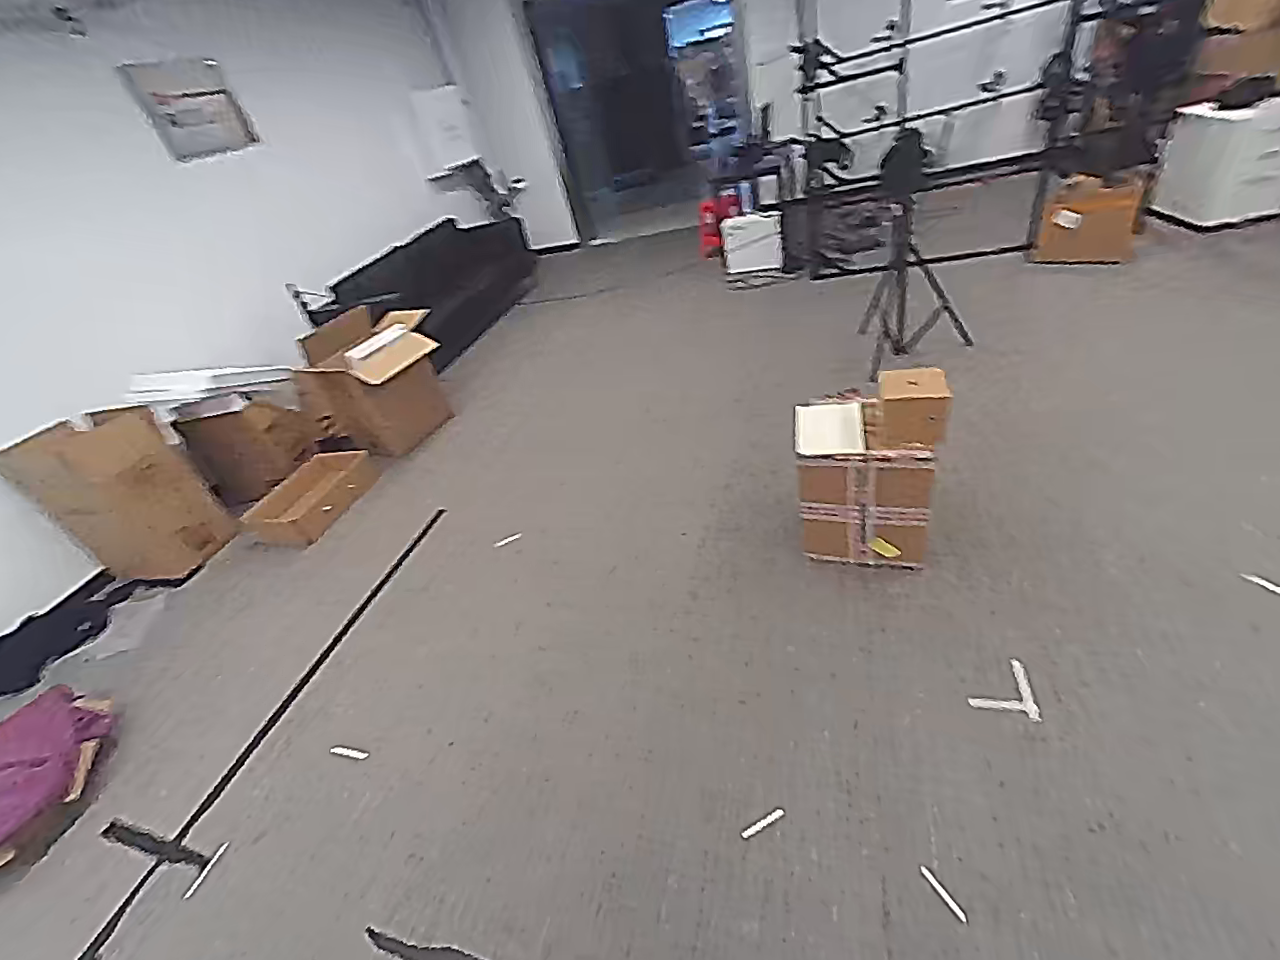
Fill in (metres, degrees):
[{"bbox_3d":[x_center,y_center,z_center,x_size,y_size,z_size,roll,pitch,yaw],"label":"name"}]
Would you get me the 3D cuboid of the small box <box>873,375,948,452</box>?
[{"bbox_3d":[0.809,-0.197,1.633,0.179,0.176,0.168,-1,40,18],"label":"small box"}]
